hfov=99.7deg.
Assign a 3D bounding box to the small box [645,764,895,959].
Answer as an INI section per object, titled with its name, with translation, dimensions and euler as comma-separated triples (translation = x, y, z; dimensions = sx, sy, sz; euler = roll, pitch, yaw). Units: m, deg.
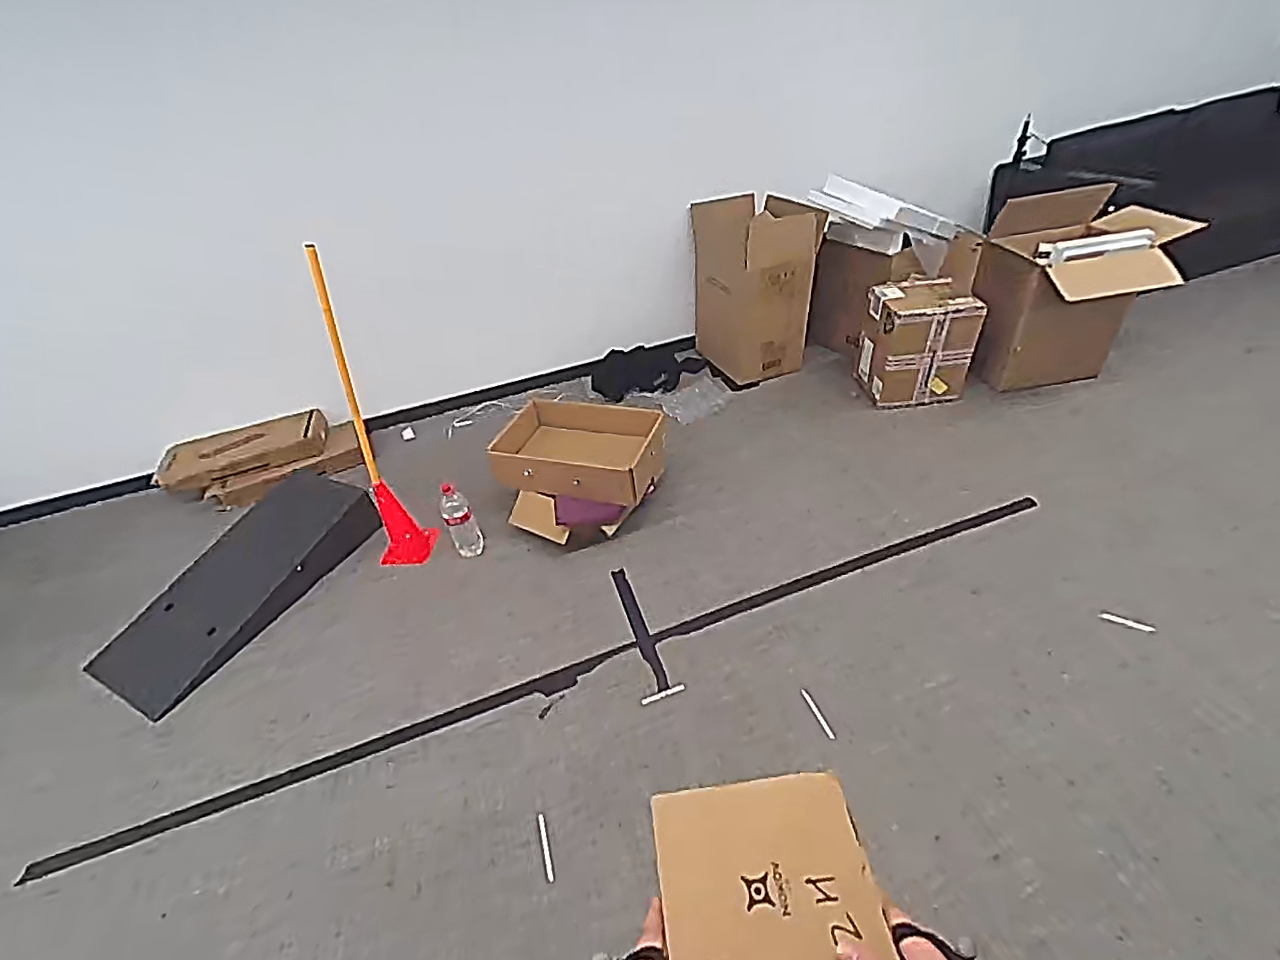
[small box]
translation = 0.104, 0.387, 0.498
dimensions = 0.179, 0.176, 0.168
euler = -6, 44, -3
